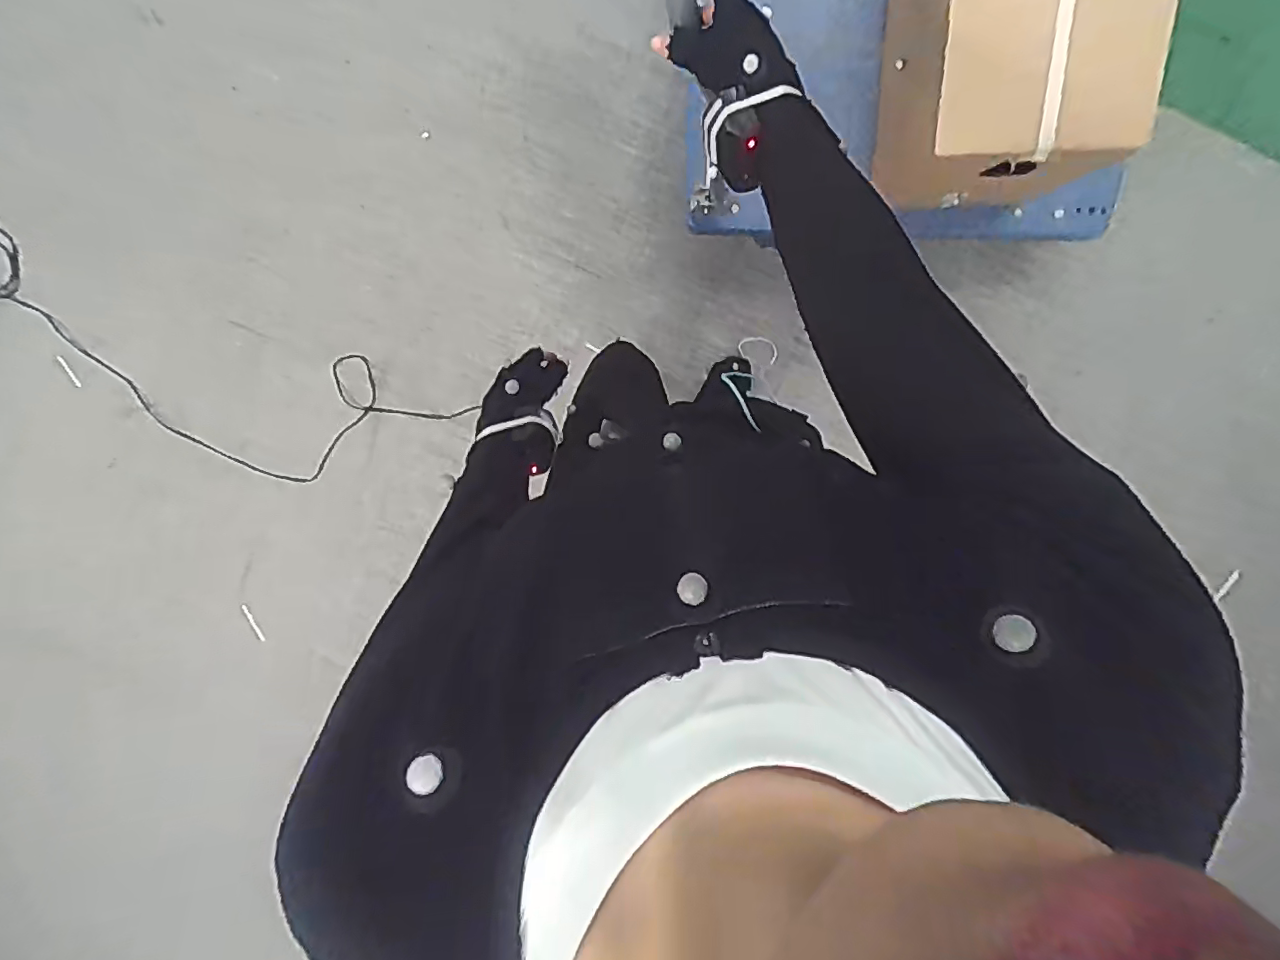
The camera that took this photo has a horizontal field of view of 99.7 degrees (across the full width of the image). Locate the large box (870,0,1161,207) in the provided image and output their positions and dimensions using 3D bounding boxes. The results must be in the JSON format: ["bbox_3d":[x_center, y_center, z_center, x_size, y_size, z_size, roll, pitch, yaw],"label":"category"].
[{"bbox_3d":[0.614,-0.733,0.936,0.320,0.320,0.408,1,102,4],"label":"large box"}]
